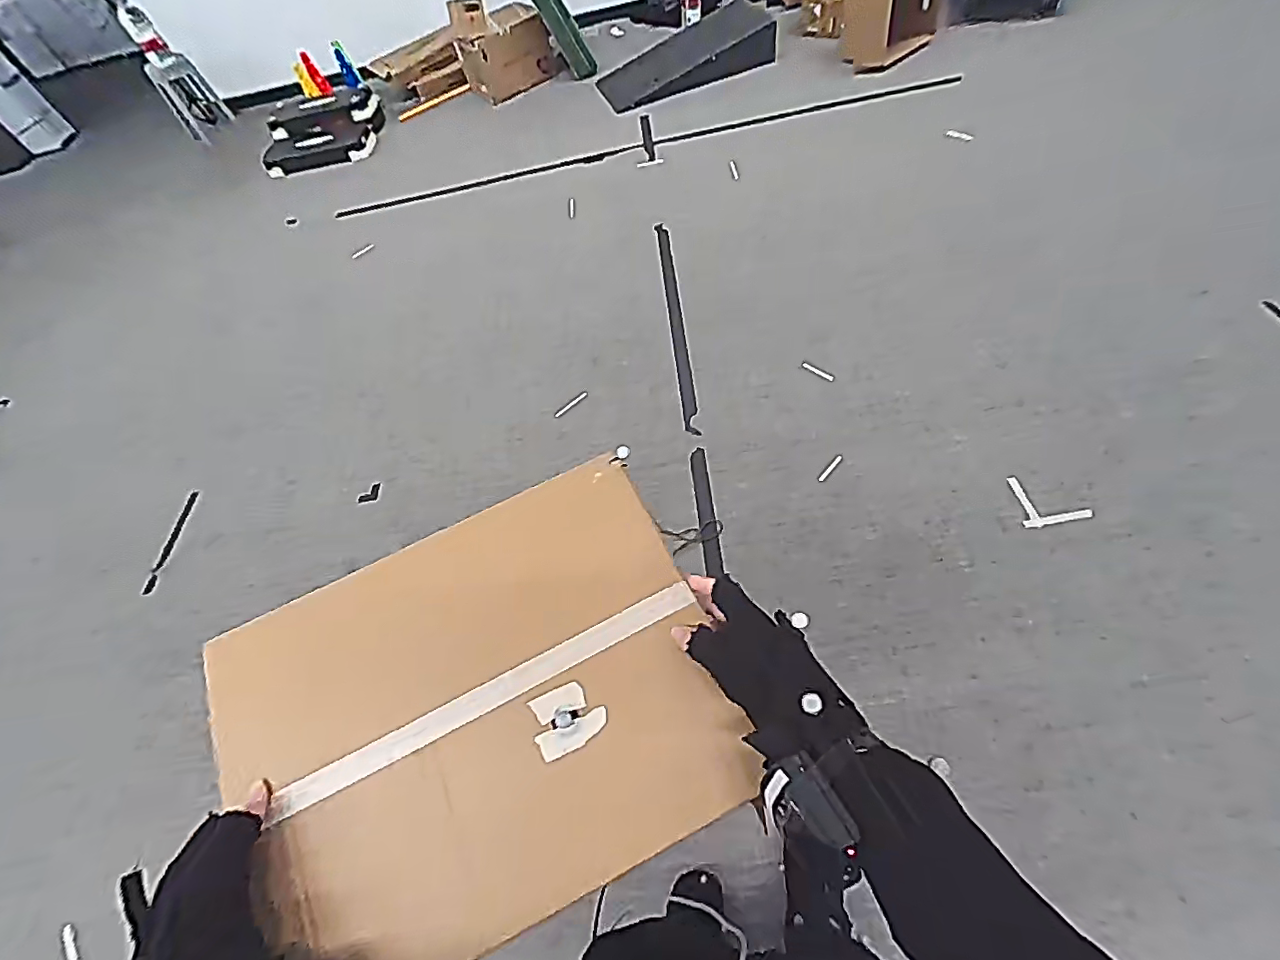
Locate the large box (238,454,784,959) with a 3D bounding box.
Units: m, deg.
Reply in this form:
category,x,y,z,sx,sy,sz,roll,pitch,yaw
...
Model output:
category,x,y,z,sx,sy,sz,roll,pitch,yaw
large box,-0.117,0.242,0.594,0.408,0.320,0.320,-25,67,-8
